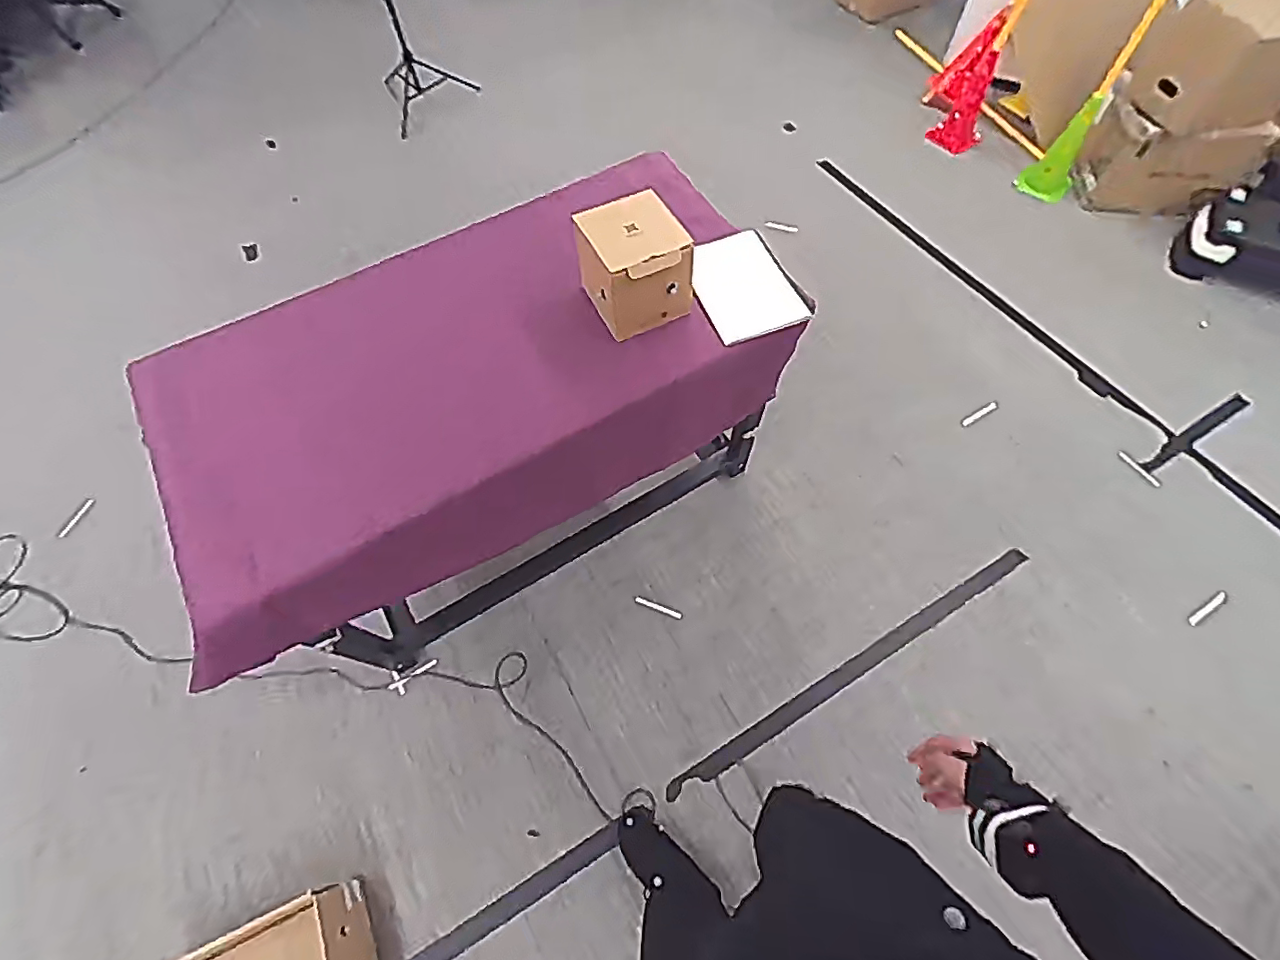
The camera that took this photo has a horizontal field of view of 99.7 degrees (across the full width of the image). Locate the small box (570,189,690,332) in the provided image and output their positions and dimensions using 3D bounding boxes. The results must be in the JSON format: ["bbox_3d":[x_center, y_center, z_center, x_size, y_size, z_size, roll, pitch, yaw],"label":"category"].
[{"bbox_3d":[-0.017,-0.408,1.031,0.168,0.176,0.179,-24,65,-11],"label":"small box"}]
